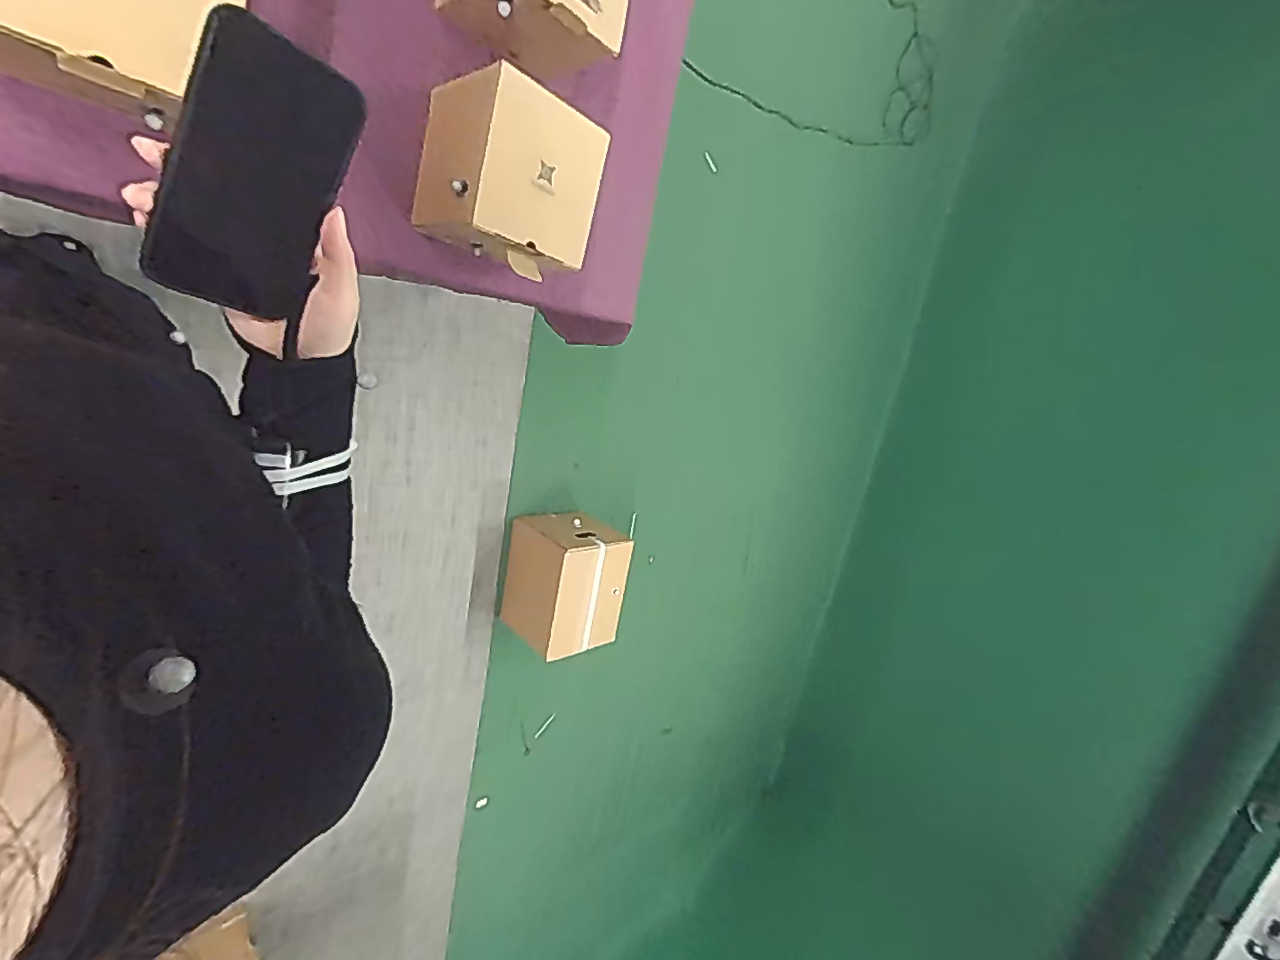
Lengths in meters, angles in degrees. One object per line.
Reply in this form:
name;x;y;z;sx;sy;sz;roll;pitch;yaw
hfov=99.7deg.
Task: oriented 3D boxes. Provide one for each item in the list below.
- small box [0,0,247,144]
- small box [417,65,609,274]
small box;-0.429;-0.398;0.430;0.168;0.176;0.179;-1;107;-47
small box;-0.170;-0.387;0.707;0.168;0.176;0.179;3;105;-47
